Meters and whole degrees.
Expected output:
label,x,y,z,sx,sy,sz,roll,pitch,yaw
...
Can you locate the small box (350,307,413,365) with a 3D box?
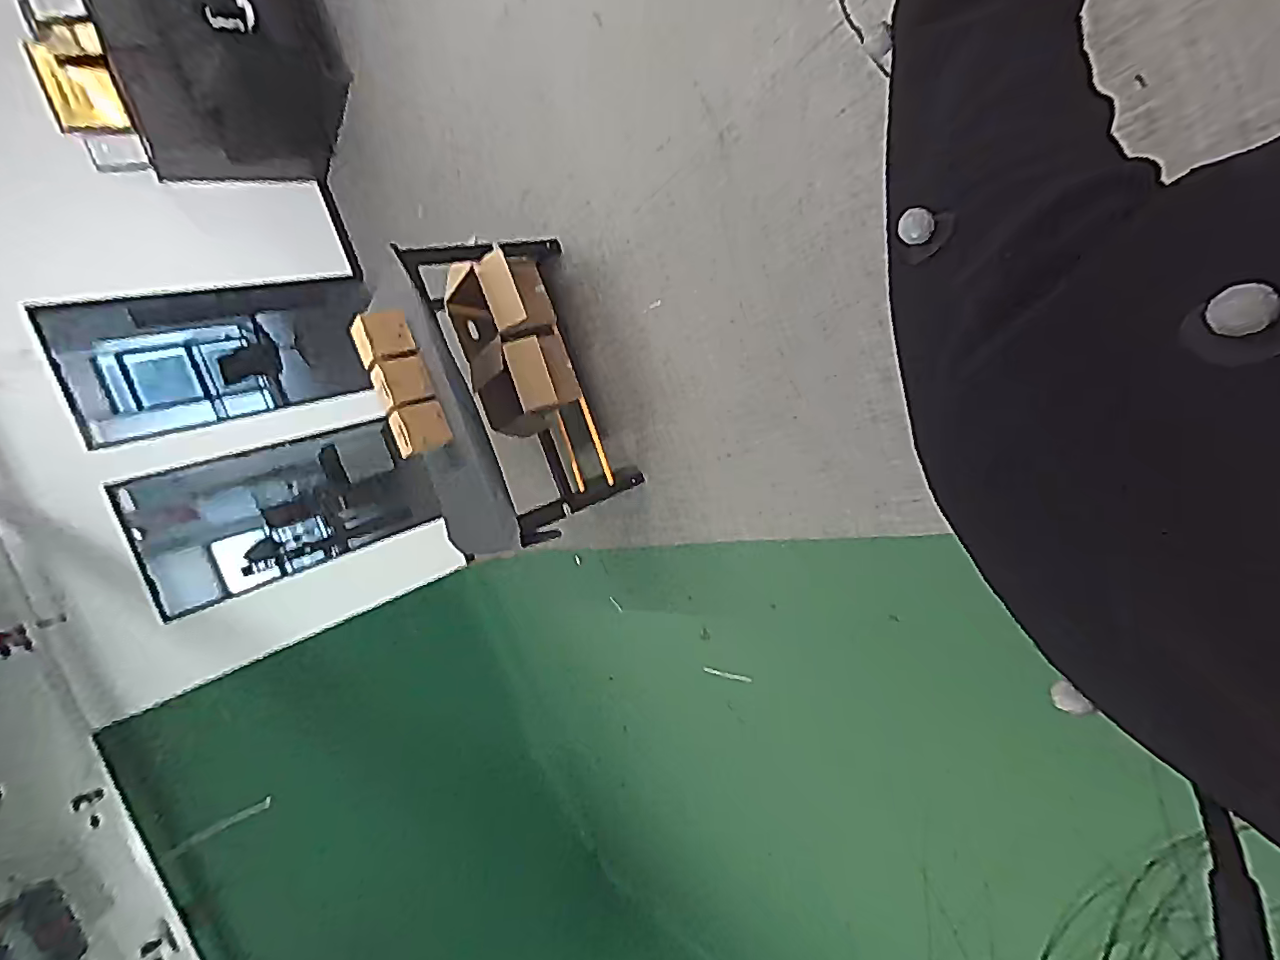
label,x,y,z,sx,sy,sz,roll,pitch,yaw
small box,-1.023,-0.573,2.149,0.179,0.176,0.168,-12,99,53
